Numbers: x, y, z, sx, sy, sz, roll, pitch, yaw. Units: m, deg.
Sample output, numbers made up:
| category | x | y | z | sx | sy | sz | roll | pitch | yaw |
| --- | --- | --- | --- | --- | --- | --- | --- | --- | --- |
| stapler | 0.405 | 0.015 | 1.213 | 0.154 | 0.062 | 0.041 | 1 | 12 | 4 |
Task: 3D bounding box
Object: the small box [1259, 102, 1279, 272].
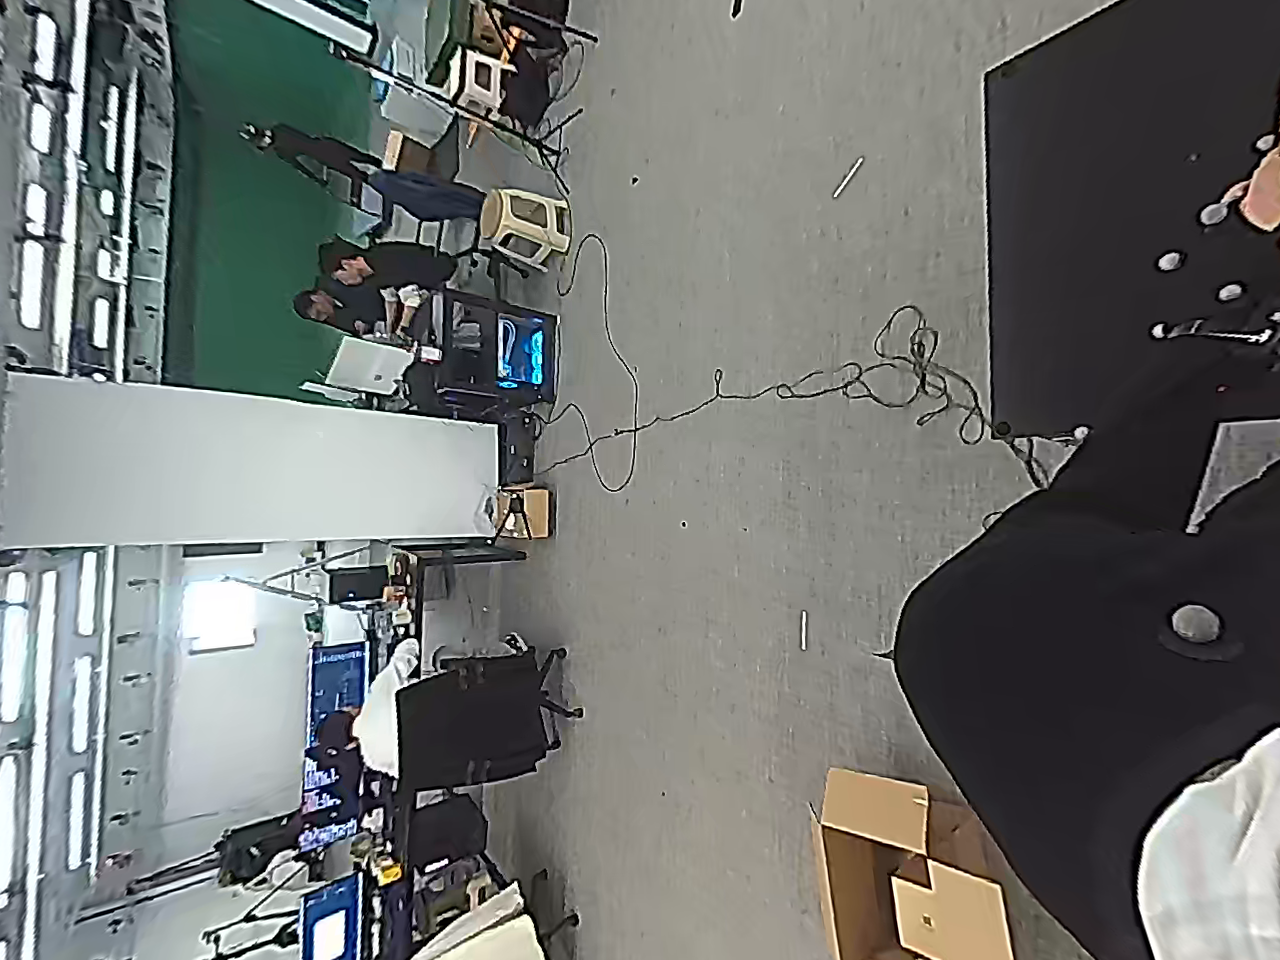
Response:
| category | x | y | z | sx | sy | sz | roll | pitch | yaw |
| --- | --- | --- | --- | --- | --- | --- | --- | --- | --- |
| small box | 0.659 | -0.295 | 0.456 | 0.168 | 0.176 | 0.179 | 7 | 98 | 47 |
